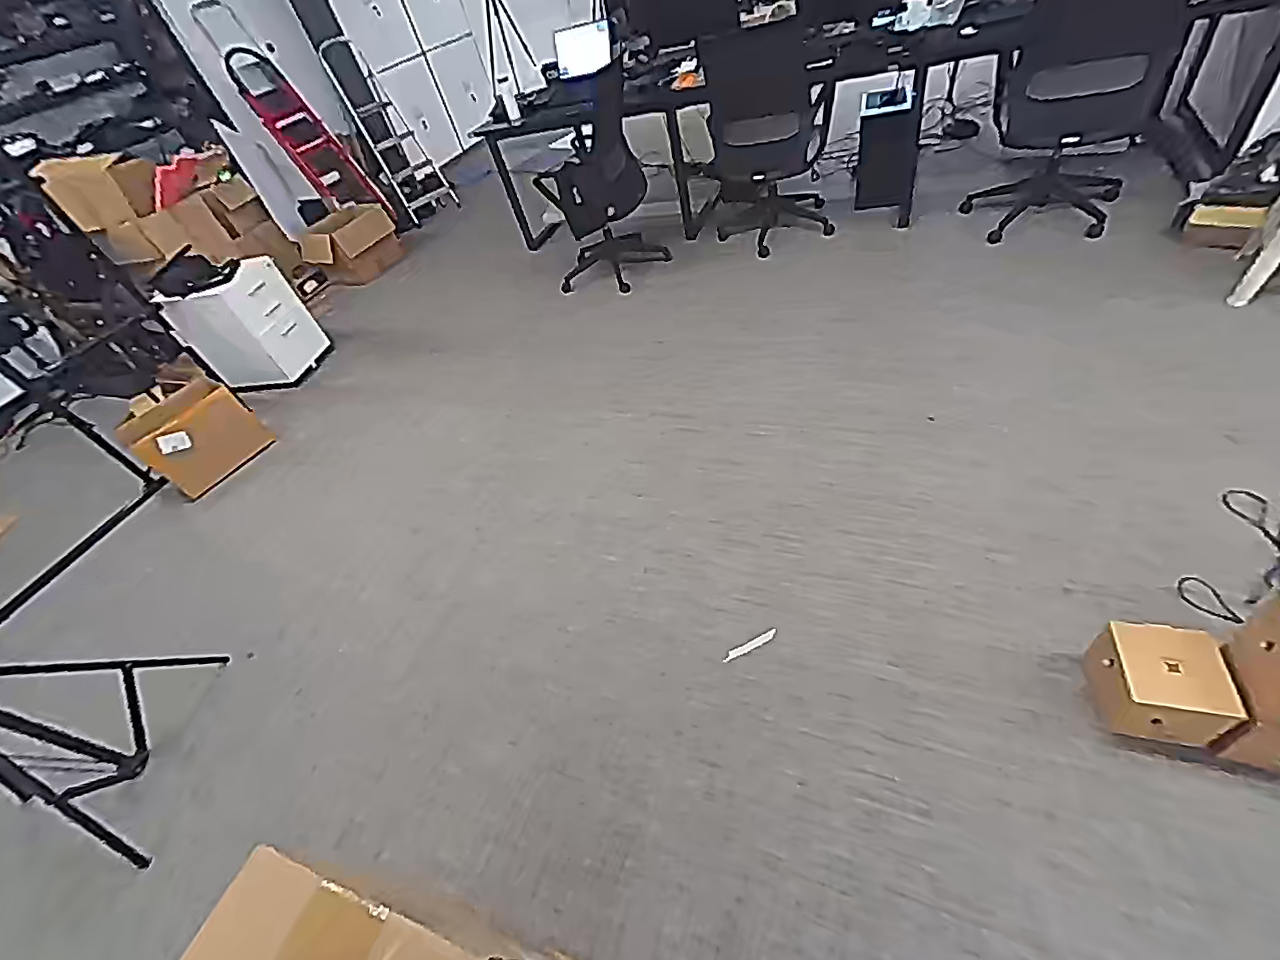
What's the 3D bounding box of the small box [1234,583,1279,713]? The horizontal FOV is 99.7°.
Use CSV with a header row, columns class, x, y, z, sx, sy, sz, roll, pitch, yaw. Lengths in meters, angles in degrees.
class,x,y,z,sx,sy,sz,roll,pitch,yaw
small box,1.176,0.305,0.915,0.168,0.176,0.179,7,49,24
